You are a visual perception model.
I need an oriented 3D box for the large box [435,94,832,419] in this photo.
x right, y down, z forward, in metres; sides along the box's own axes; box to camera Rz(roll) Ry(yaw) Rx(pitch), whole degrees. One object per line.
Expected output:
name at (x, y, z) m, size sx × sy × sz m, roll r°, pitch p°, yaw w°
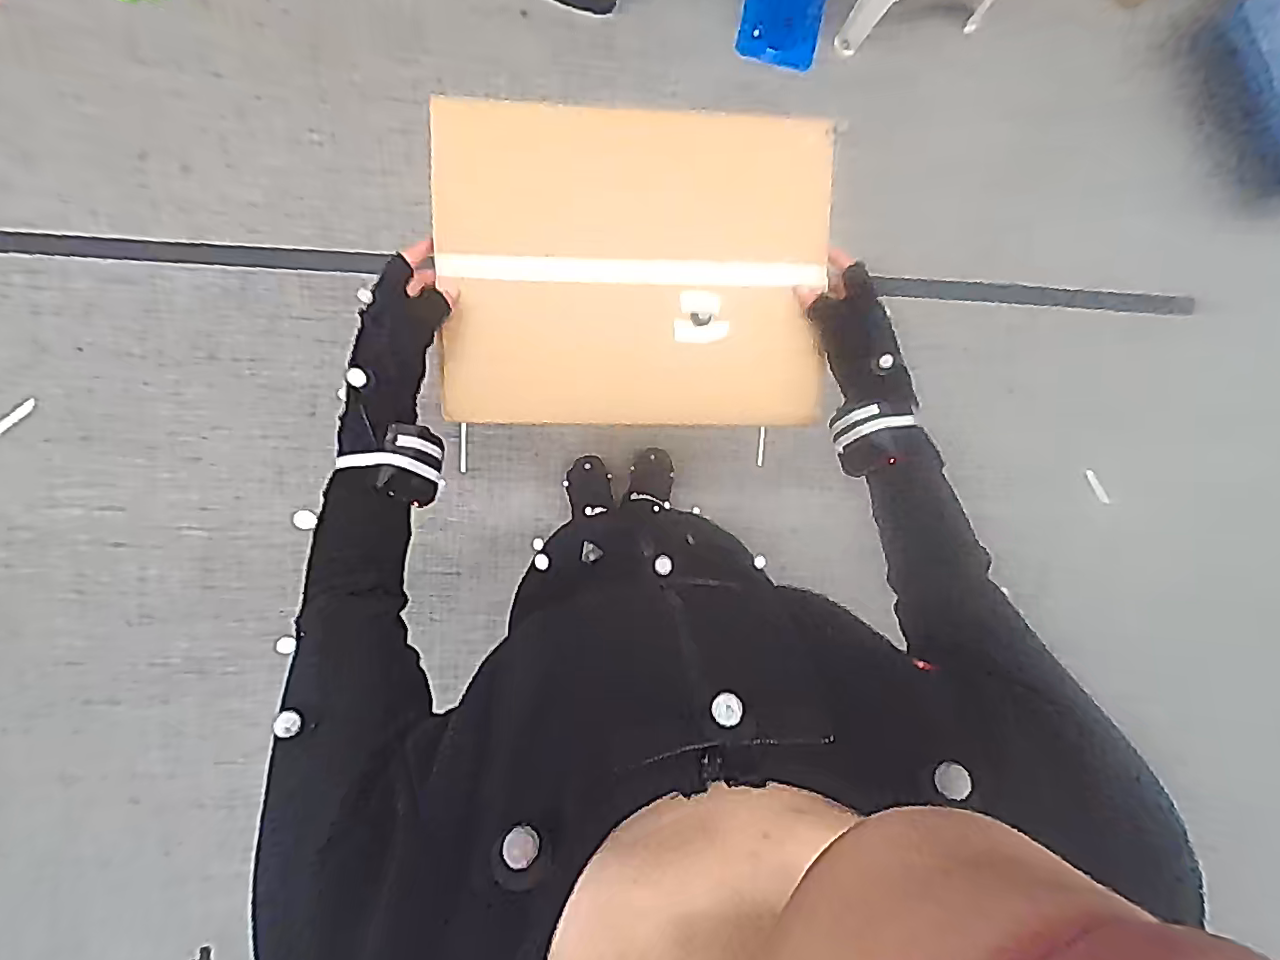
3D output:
large box at (-0.015, -0.239, 0.700) m, size 0.408 × 0.320 × 0.320 m, roll 0°, pitch 98°, yaw -6°
